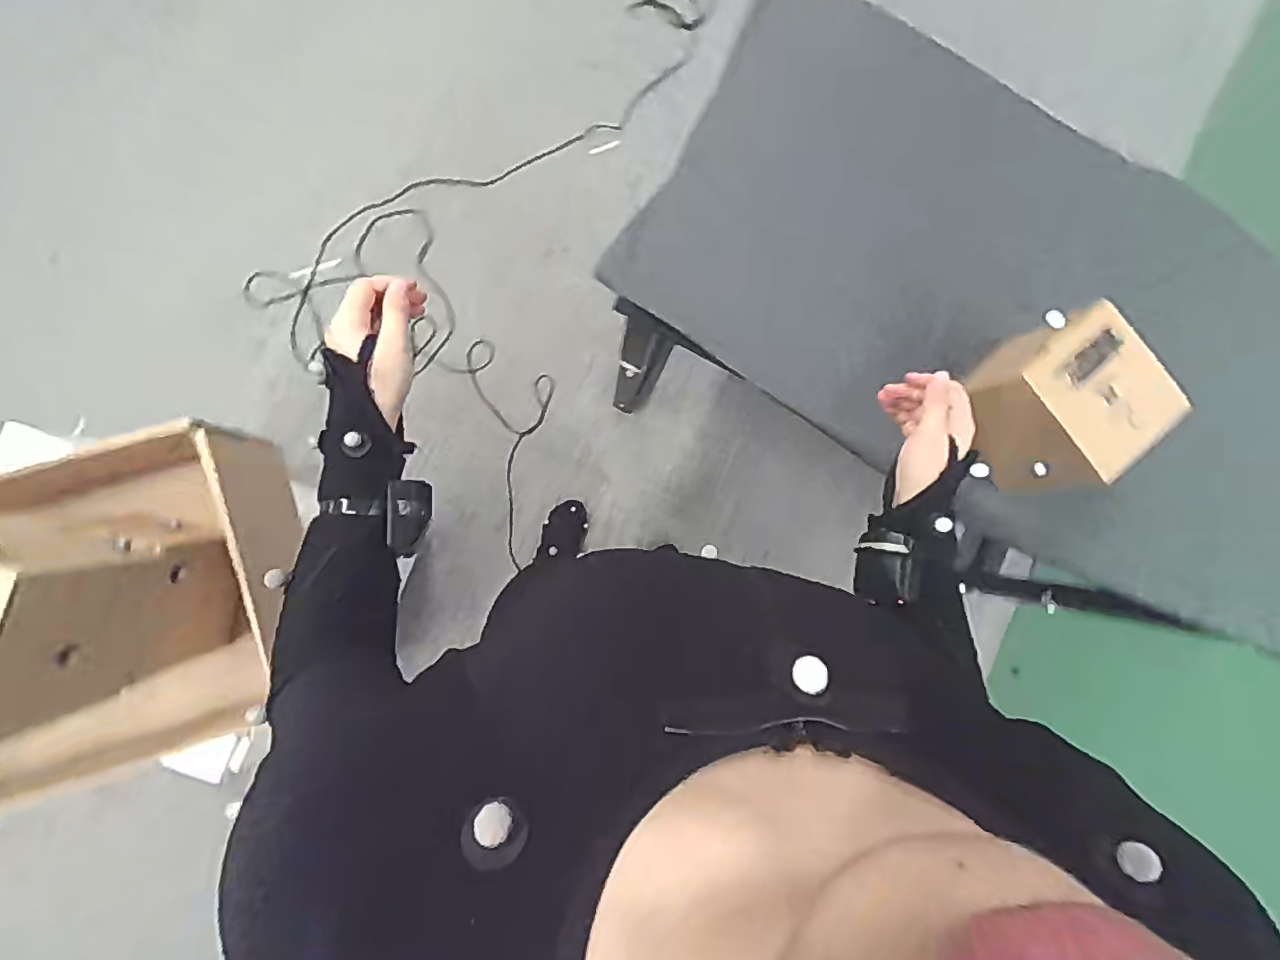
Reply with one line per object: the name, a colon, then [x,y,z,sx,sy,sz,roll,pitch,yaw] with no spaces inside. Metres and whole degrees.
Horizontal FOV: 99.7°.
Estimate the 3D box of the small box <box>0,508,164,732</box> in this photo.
small box: [-0.653,0.132,0.556,0.168,0.176,0.179,18,88,-2]
